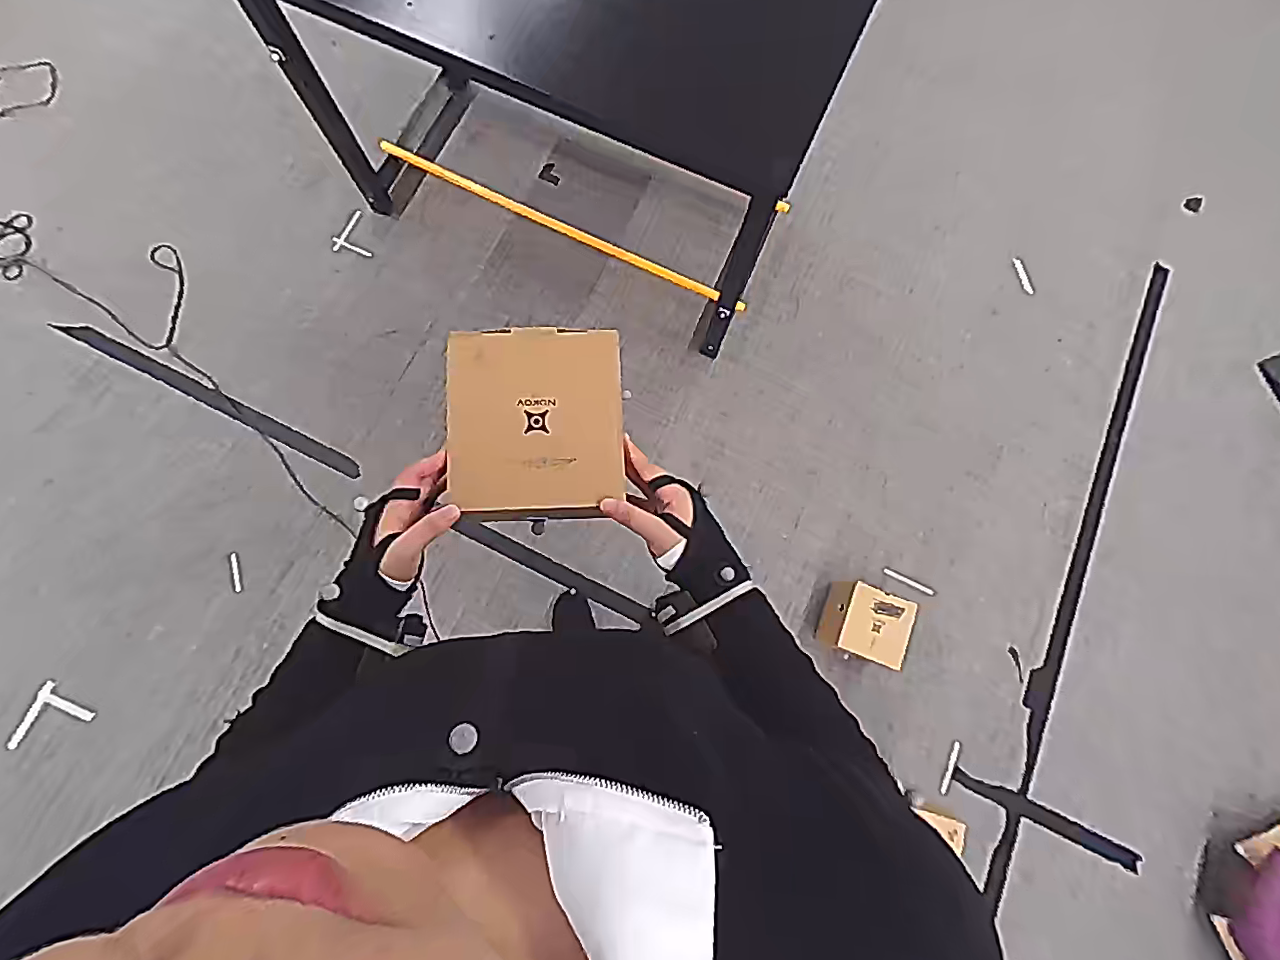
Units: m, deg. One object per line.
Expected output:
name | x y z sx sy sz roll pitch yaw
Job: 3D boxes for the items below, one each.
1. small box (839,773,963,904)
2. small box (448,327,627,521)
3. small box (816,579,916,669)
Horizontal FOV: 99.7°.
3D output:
small box | 0.562 0.771 1.186 0.179 0.176 0.168 18 79 2
small box | -0.104 -0.051 0.590 0.168 0.176 0.179 -2 82 -5
small box | 0.590 0.375 1.432 0.168 0.176 0.179 22 79 3
